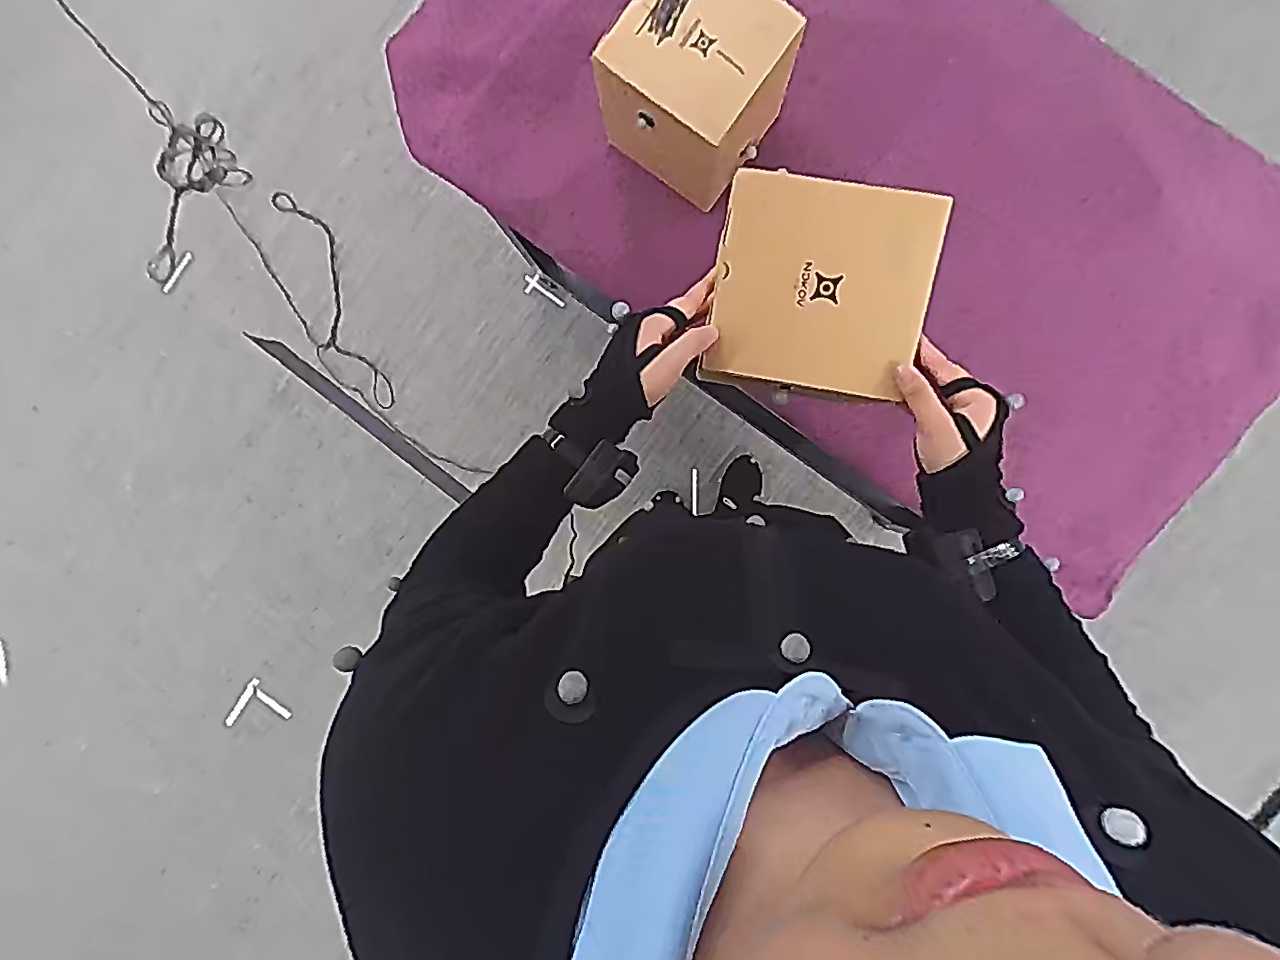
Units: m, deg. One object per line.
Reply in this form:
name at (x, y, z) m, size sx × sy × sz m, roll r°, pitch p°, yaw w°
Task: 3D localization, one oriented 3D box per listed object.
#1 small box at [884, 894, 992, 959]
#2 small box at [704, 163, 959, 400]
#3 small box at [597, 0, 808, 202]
small box at (0.761, 1.212, 1.373) m, size 0.179 × 0.176 × 0.168 m, roll 33°, pitch 94°, yaw 1°
small box at (0.163, -0.176, 0.524) m, size 0.179 × 0.176 × 0.168 m, roll 11°, pitch 99°, yaw 5°
small box at (0.071, -0.488, 0.671) m, size 0.179 × 0.176 × 0.168 m, roll 37°, pitch 95°, yaw 1°
